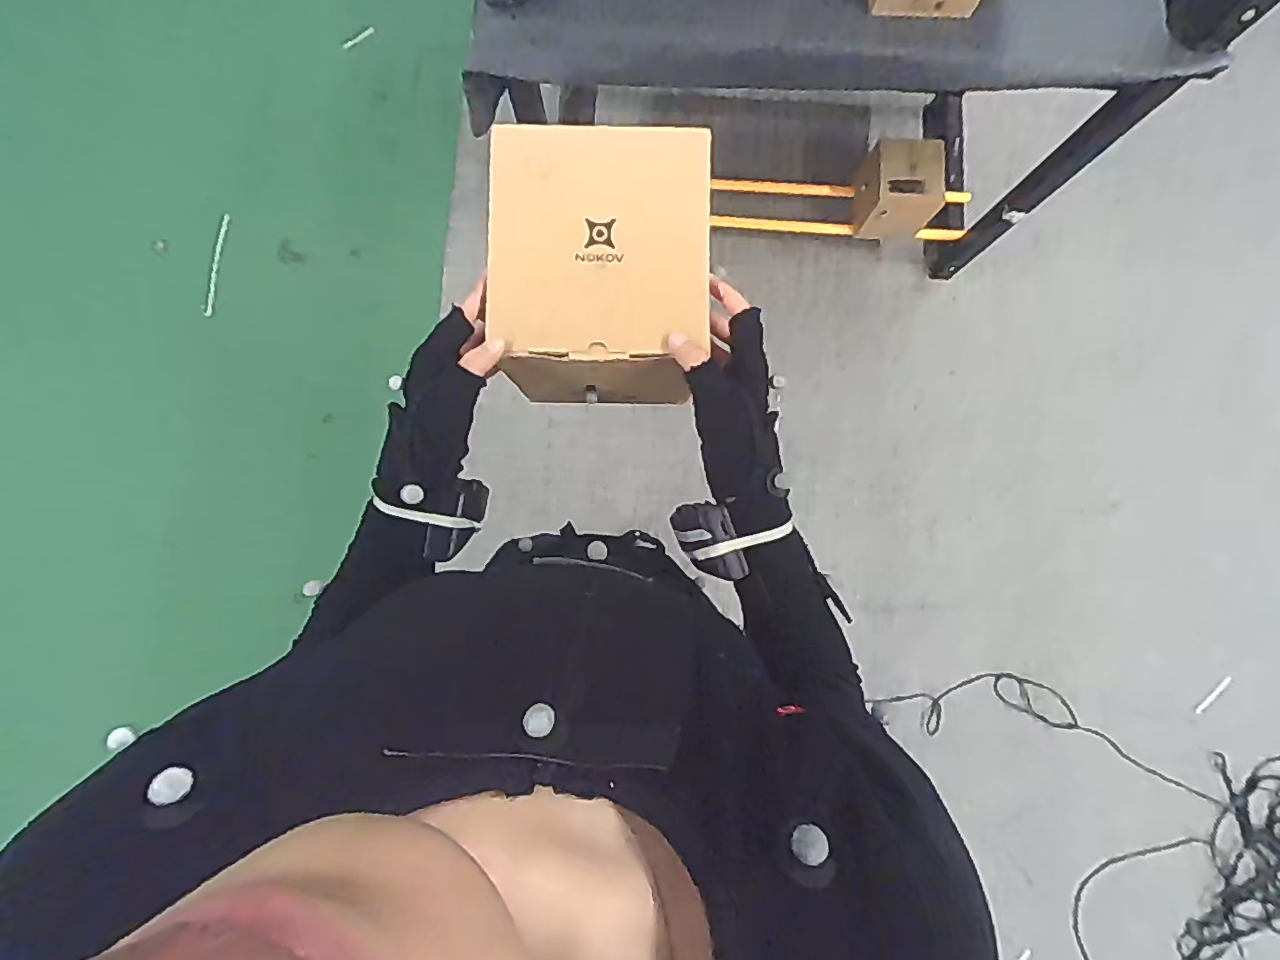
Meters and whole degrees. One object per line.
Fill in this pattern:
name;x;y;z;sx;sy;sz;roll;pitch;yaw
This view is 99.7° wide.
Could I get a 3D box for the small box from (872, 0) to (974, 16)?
small box;0.455;-0.852;0.807;0.168;0.176;0.179;1;82;-1
